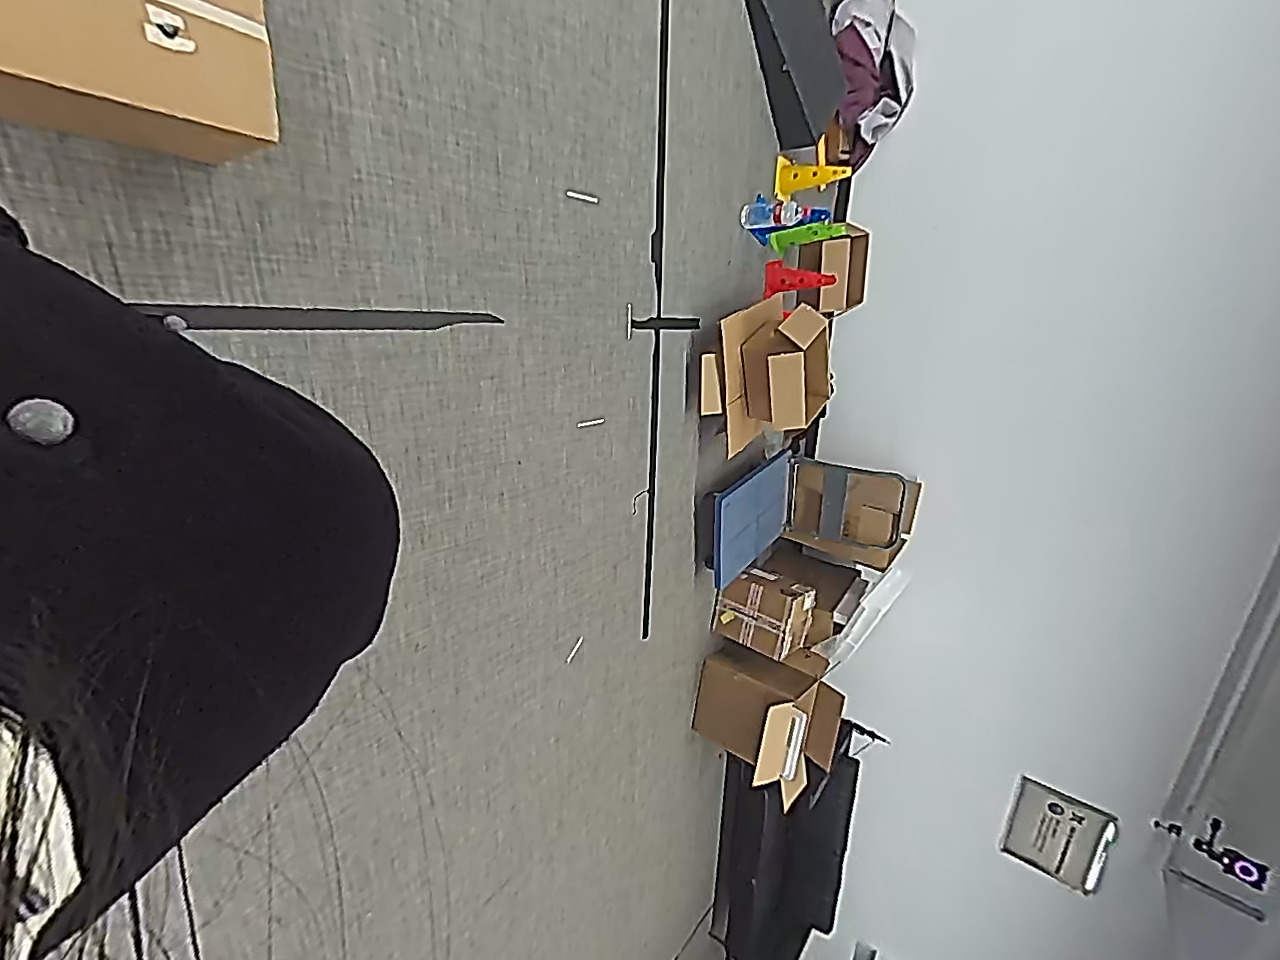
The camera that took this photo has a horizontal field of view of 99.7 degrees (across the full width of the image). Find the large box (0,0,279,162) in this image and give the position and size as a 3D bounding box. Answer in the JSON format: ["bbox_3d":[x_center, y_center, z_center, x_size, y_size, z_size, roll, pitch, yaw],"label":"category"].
[{"bbox_3d":[-0.861,-0.727,0.832,0.408,0.320,0.320,-17,116,-51],"label":"large box"}]
